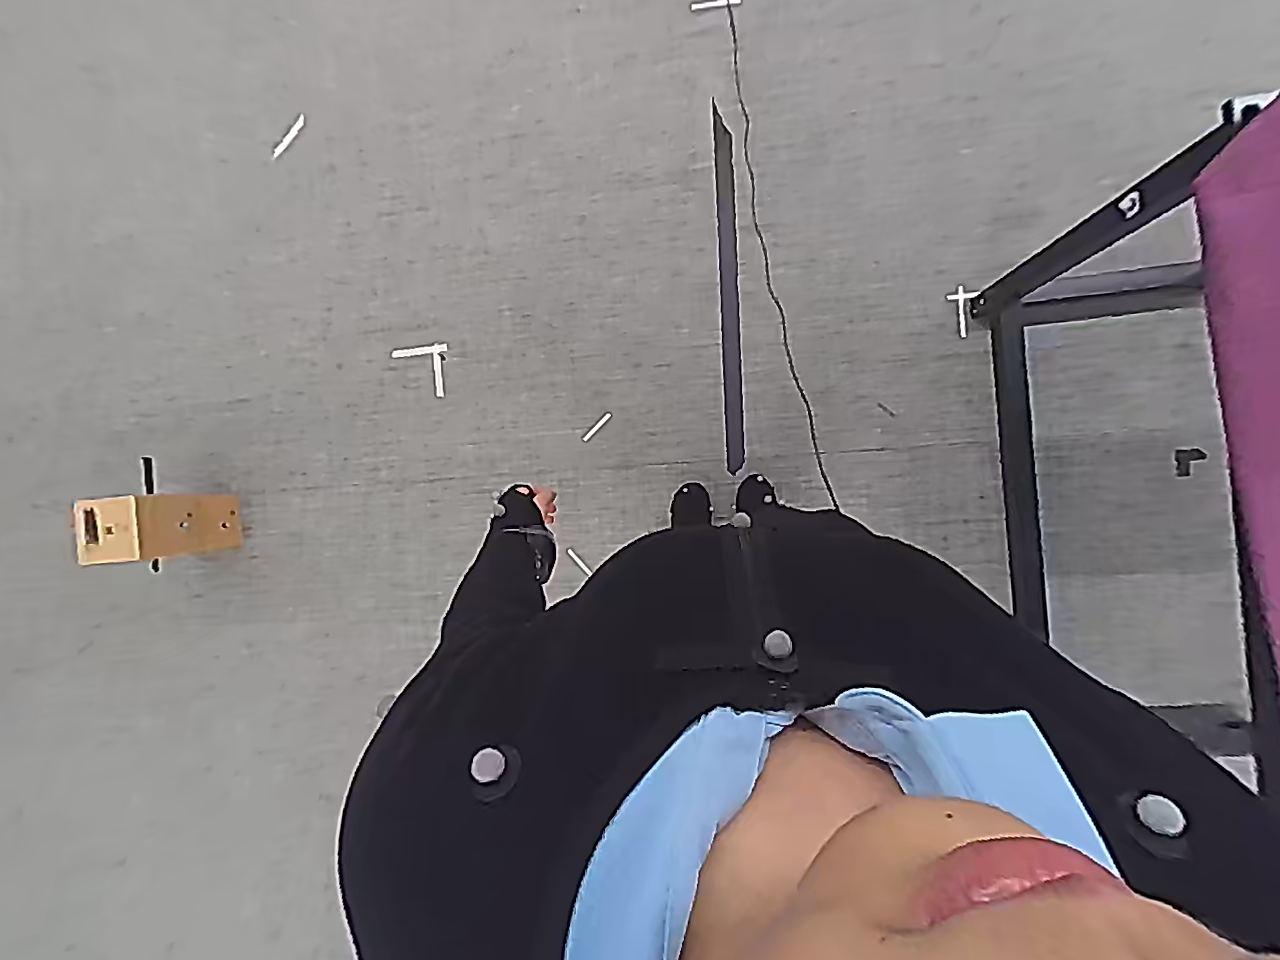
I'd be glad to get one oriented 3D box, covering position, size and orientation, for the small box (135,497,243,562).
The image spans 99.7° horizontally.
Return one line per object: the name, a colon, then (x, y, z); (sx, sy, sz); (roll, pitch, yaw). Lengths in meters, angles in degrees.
small box: (-1.330, 0.143, 1.603); (0.179, 0.176, 0.168); (-9, 89, 6)
